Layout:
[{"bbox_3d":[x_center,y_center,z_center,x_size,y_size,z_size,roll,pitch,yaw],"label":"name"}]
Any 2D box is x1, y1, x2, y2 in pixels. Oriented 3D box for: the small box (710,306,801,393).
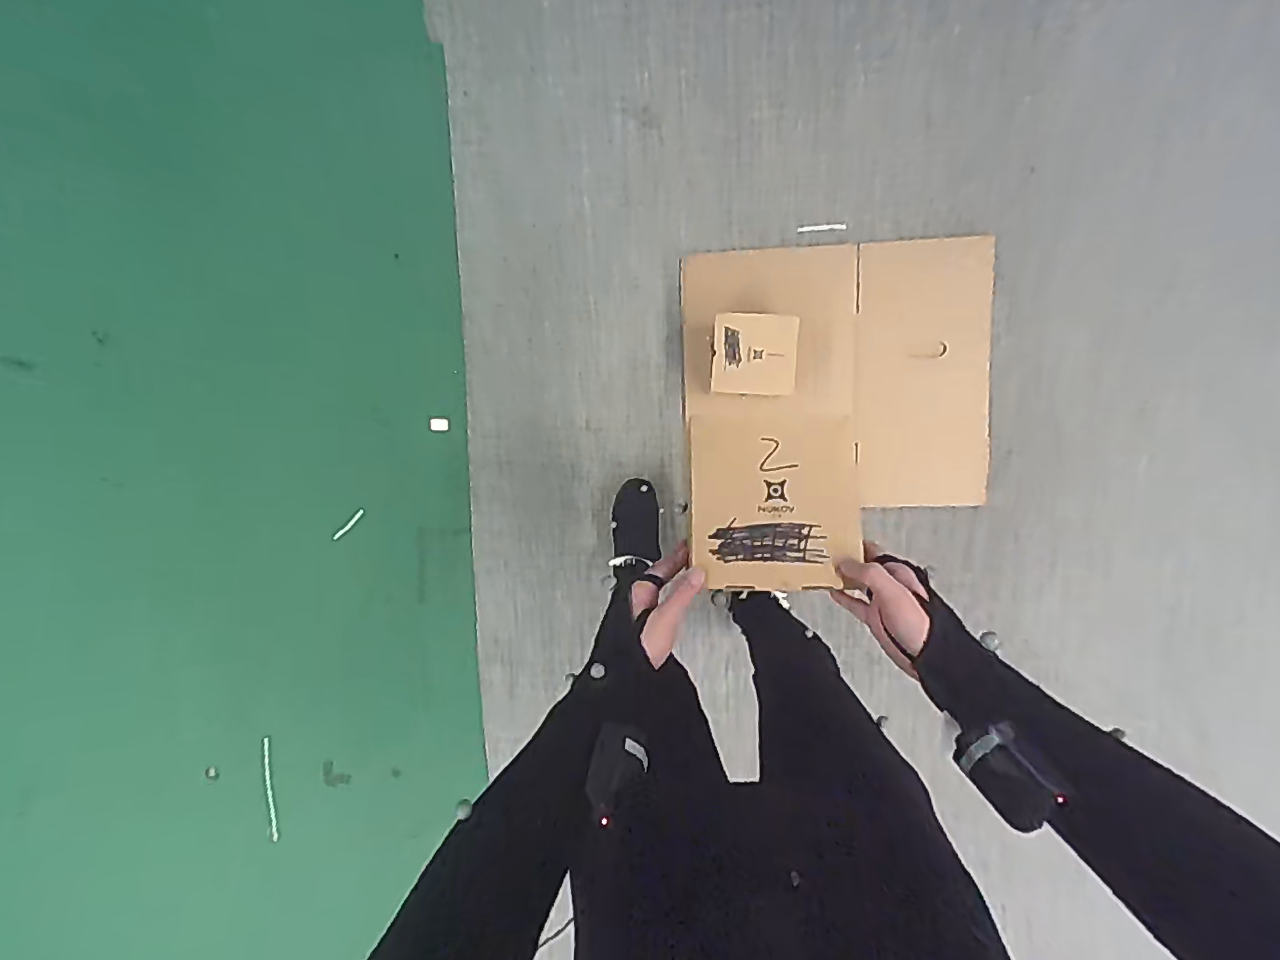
[{"bbox_3d":[0.247,-0.282,1.197,0.179,0.176,0.168,3,98,5],"label":"small box"}]
